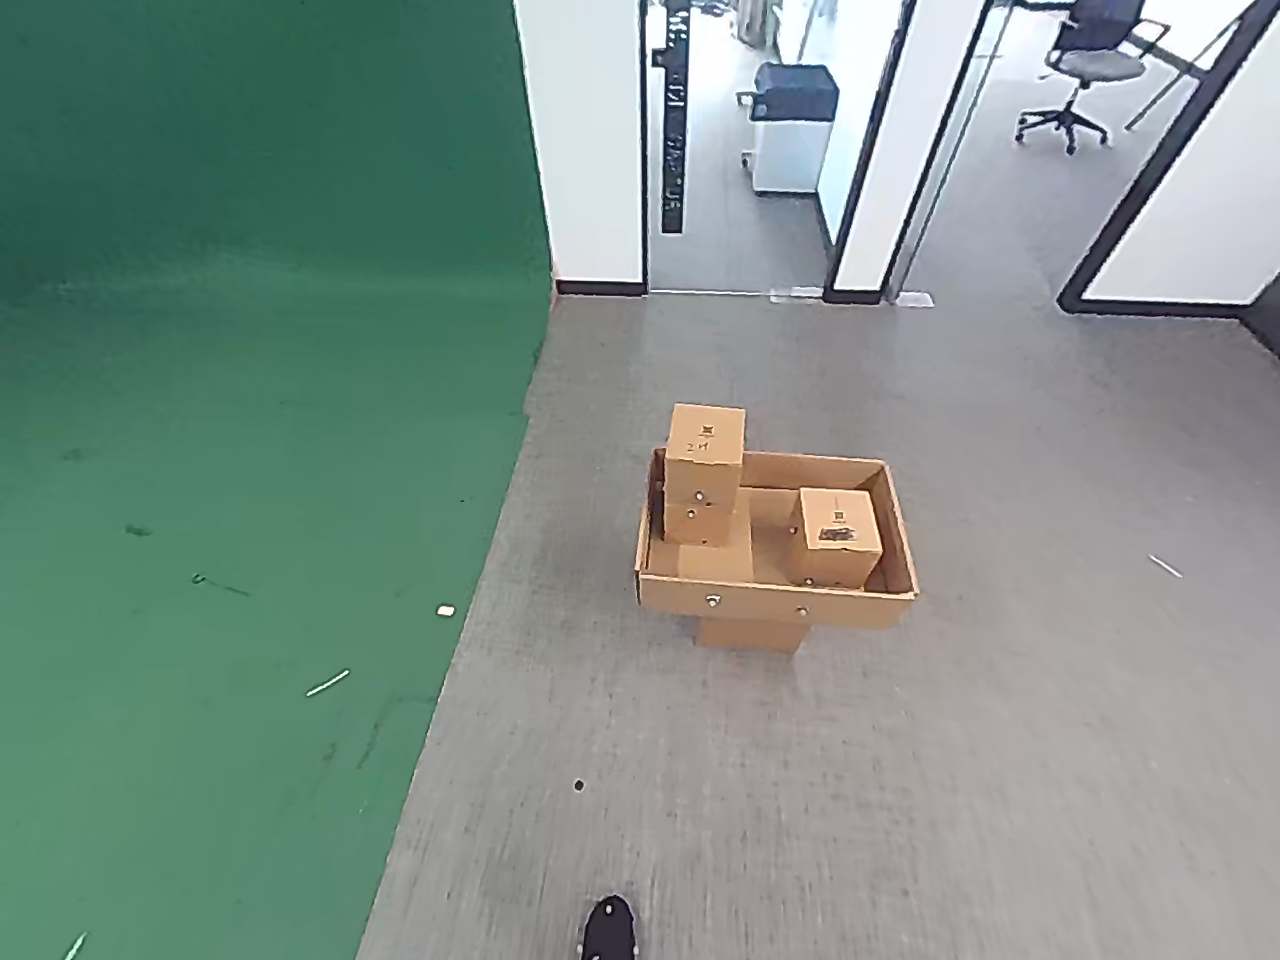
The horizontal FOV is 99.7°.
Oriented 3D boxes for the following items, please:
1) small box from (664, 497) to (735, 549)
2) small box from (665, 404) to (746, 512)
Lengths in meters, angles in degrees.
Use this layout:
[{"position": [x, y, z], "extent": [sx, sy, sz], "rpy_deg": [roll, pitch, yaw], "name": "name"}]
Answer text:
[{"position": [0.152, 0.053, 1.388], "extent": [0.168, 0.176, 0.179], "rpy_deg": [6, 51, 5], "name": "small box"}, {"position": [0.151, -0.051, 1.261], "extent": [0.168, 0.176, 0.179], "rpy_deg": [7, 51, 7], "name": "small box"}]
